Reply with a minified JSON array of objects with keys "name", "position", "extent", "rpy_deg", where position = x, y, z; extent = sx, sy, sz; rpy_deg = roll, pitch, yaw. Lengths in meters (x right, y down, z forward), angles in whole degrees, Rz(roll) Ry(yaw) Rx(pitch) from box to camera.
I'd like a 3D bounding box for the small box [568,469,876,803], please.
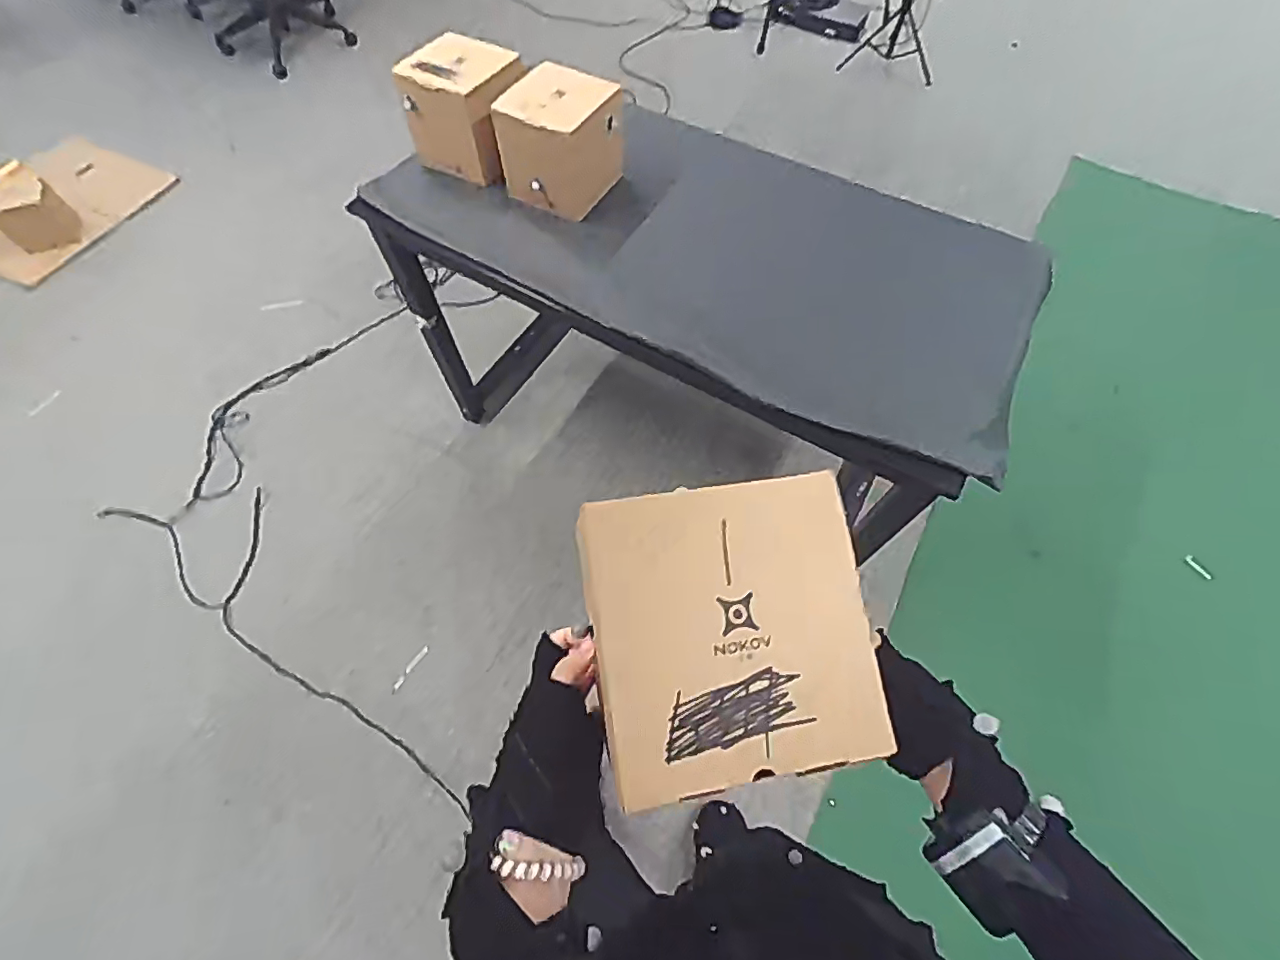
[{"name":"small box","position":[0.040,0.101,0.402],"extent":[0.168,0.176,0.179],"rpy_deg":[-8,80,-9]}]
